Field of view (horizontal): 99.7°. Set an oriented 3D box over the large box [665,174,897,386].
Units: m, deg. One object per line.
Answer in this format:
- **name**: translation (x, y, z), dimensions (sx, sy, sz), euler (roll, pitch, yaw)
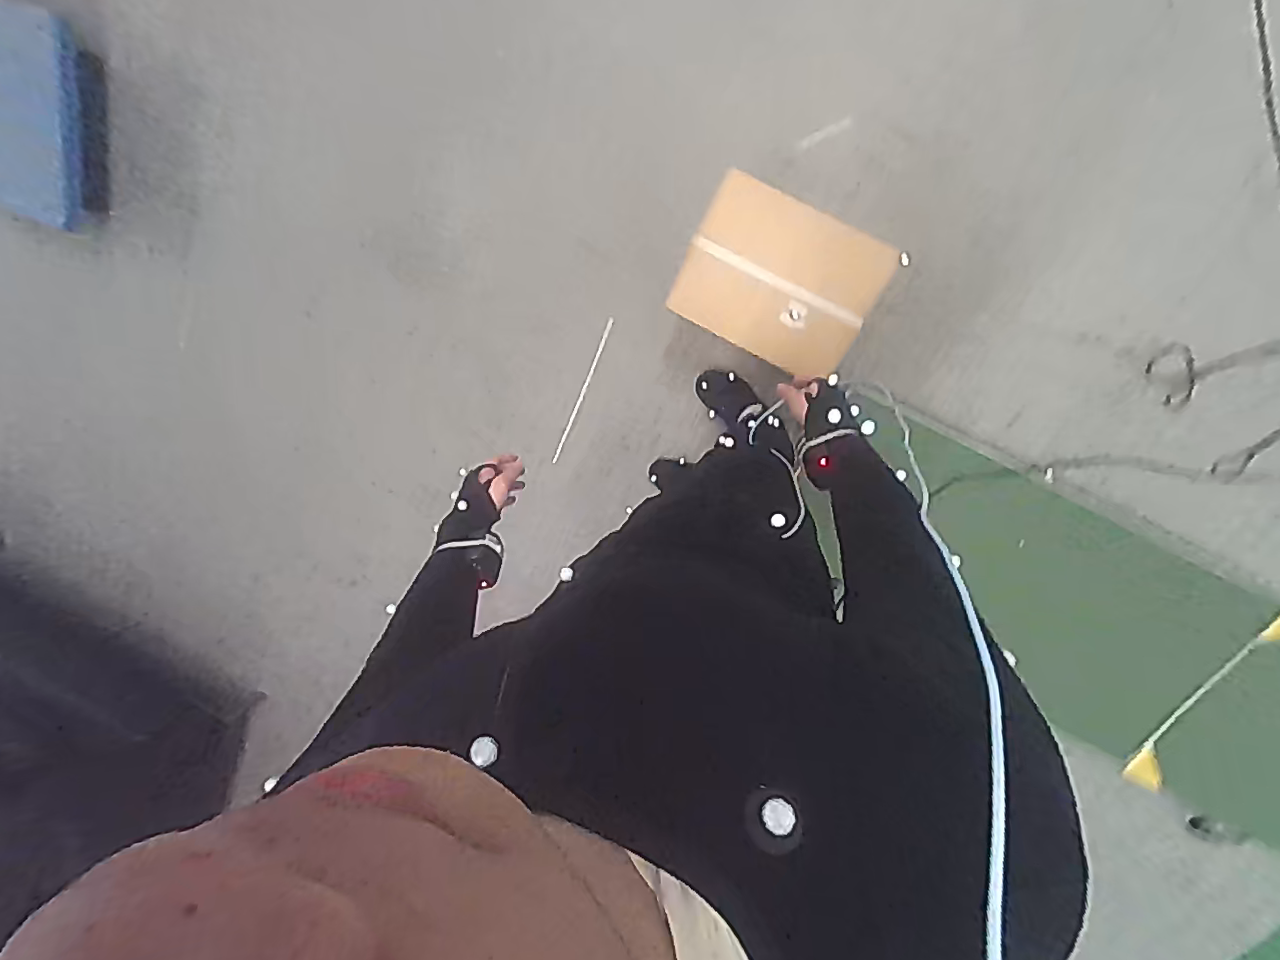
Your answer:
- **large box**: translation (0.316, -0.461, 1.308), dimensions (0.408, 0.320, 0.320), euler (28, 108, 3)
